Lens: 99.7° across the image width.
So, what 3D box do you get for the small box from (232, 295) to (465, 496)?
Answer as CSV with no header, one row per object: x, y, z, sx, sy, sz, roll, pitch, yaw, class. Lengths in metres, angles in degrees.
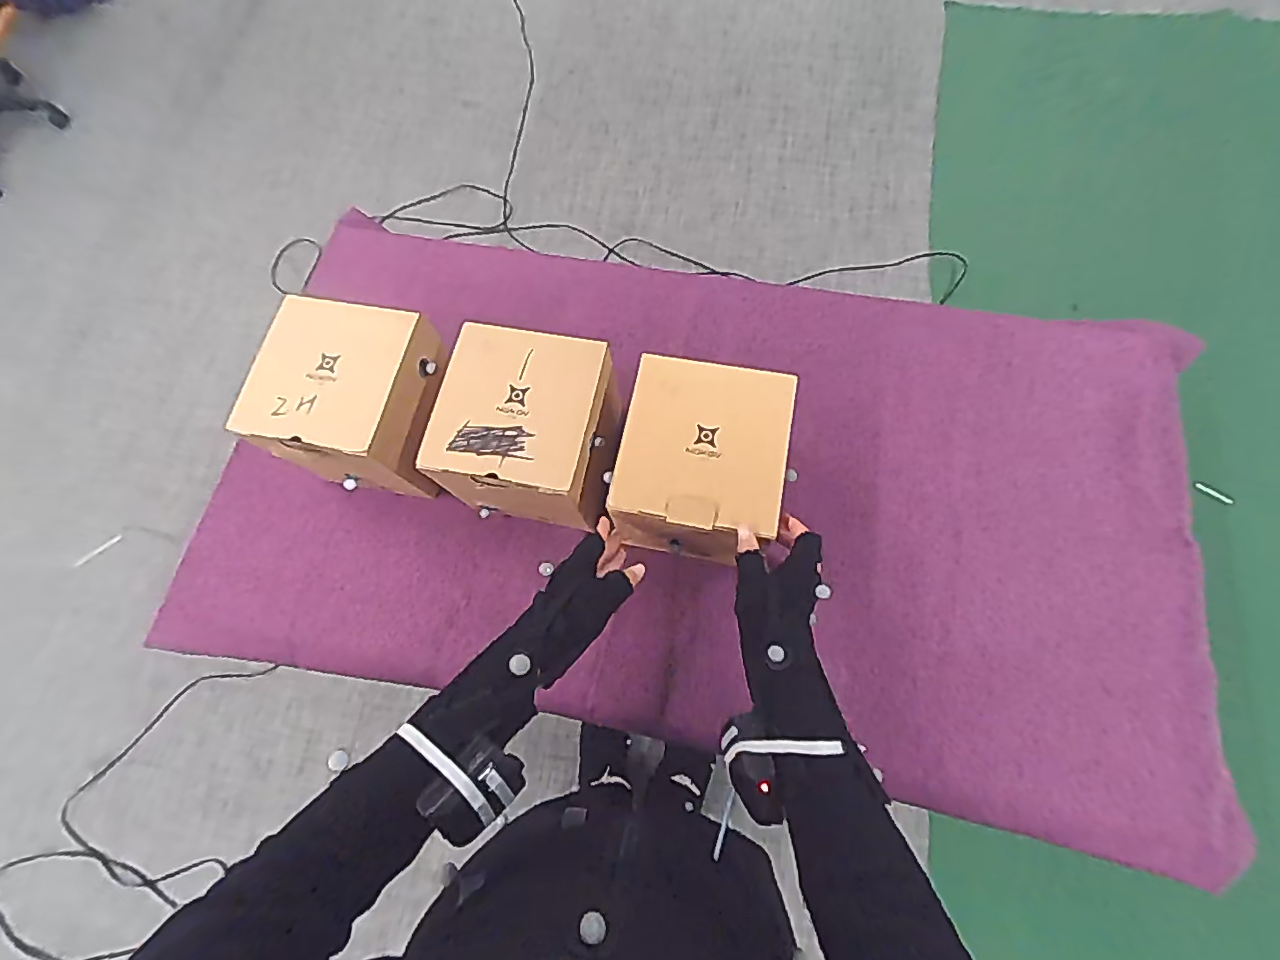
-0.337,-0.096,0.669,0.168,0.176,0.179,10,73,7,small box

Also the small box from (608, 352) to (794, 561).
0.067,-0.018,0.620,0.168,0.176,0.179,10,74,7,small box
